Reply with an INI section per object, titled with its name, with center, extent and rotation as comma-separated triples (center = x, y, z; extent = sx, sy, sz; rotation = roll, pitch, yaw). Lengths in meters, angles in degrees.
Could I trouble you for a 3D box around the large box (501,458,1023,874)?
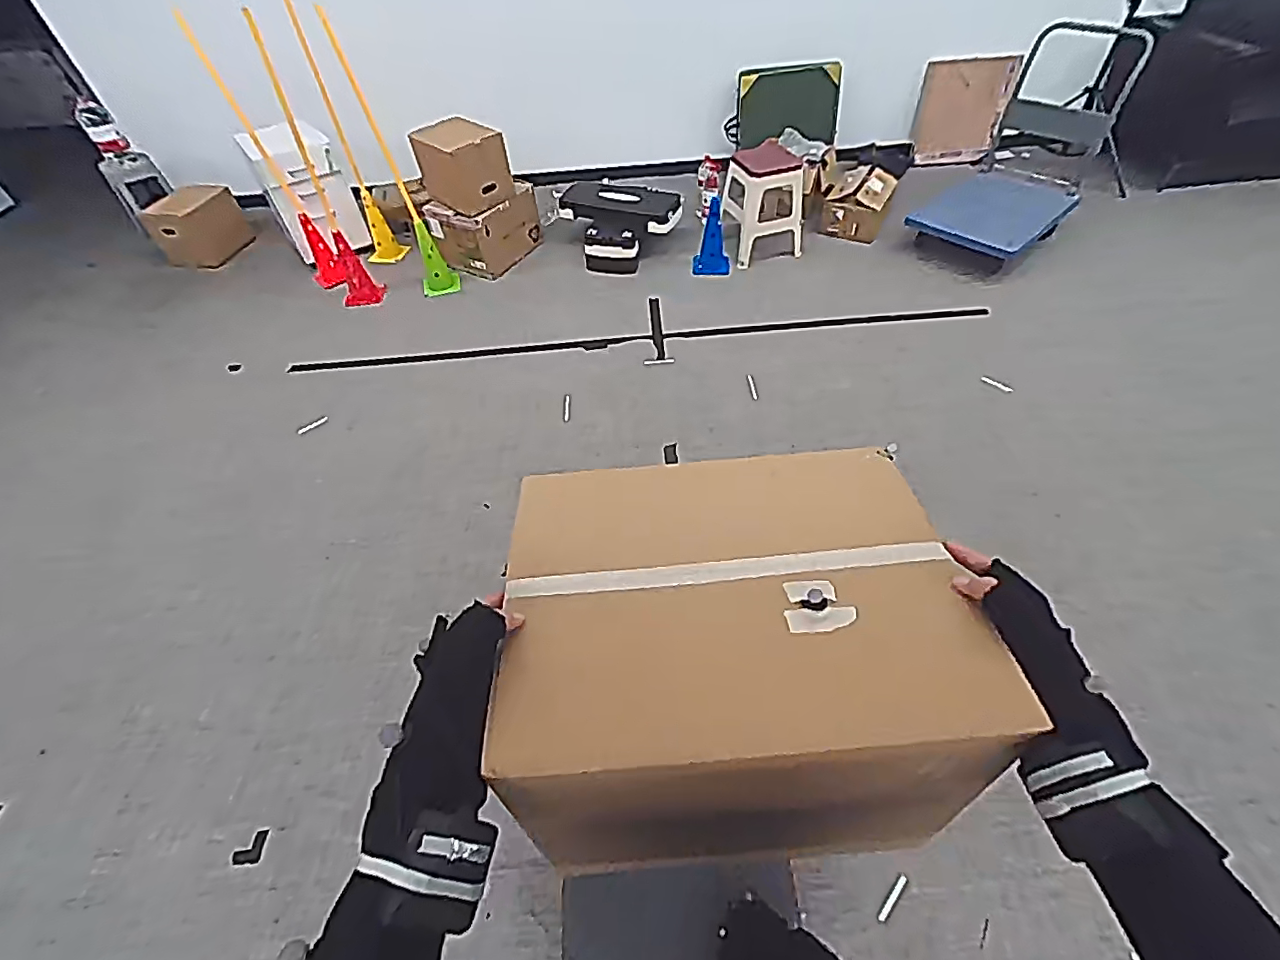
[large box]
center = 0.090, 0.205, 0.609
extent = 0.408, 0.320, 0.320
rotation = -5, 43, 0
